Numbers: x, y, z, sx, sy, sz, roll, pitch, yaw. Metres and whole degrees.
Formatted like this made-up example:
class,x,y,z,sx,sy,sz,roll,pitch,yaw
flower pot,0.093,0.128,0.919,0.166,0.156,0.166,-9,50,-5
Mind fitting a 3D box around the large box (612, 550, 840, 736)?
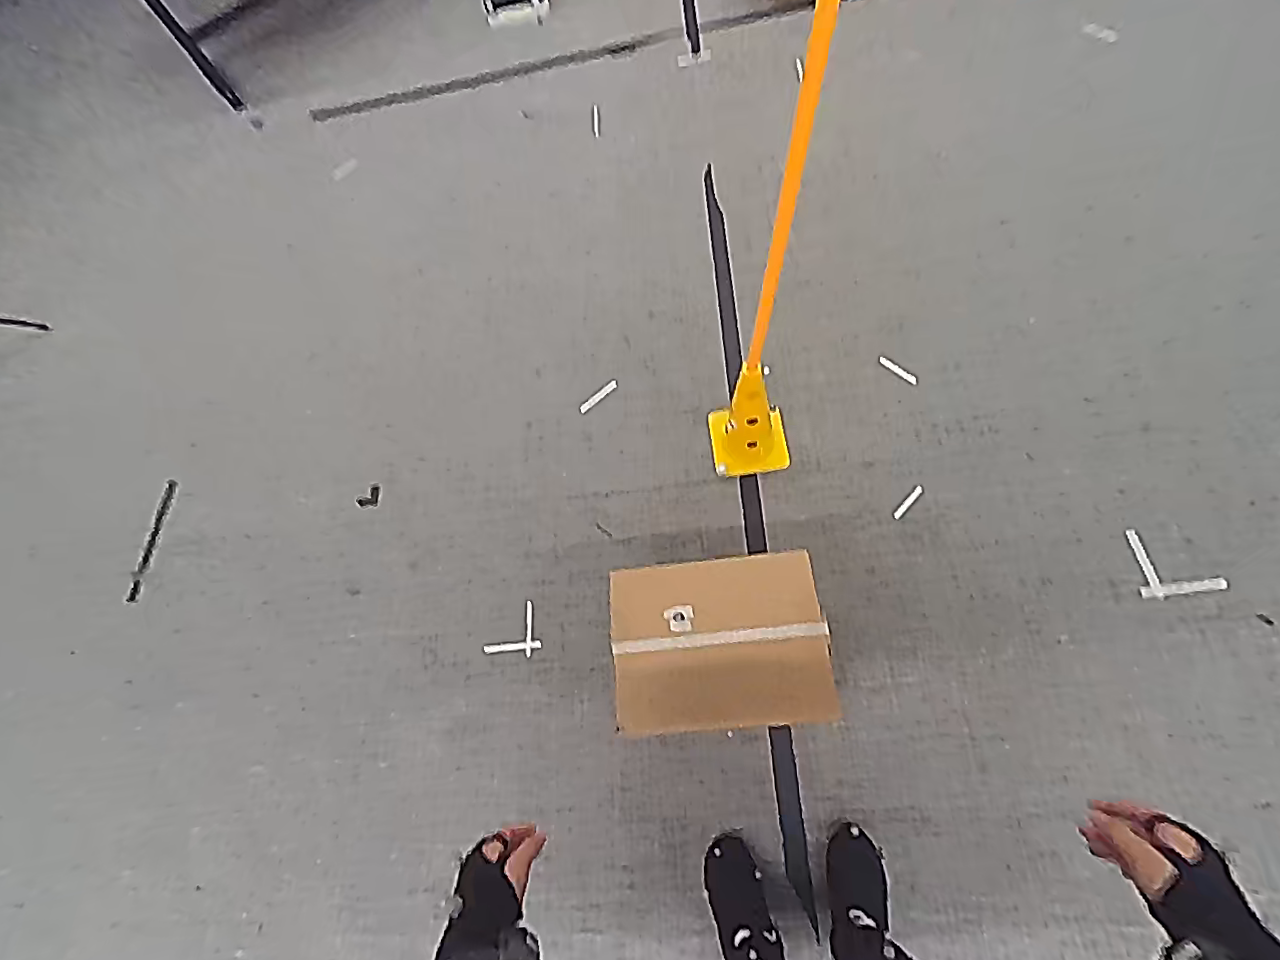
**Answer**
class,x,y,z,sx,sy,sz,roll,pitch,yaw
large box,0.177,0.363,1.174,0.408,0.320,0.320,-8,65,8
